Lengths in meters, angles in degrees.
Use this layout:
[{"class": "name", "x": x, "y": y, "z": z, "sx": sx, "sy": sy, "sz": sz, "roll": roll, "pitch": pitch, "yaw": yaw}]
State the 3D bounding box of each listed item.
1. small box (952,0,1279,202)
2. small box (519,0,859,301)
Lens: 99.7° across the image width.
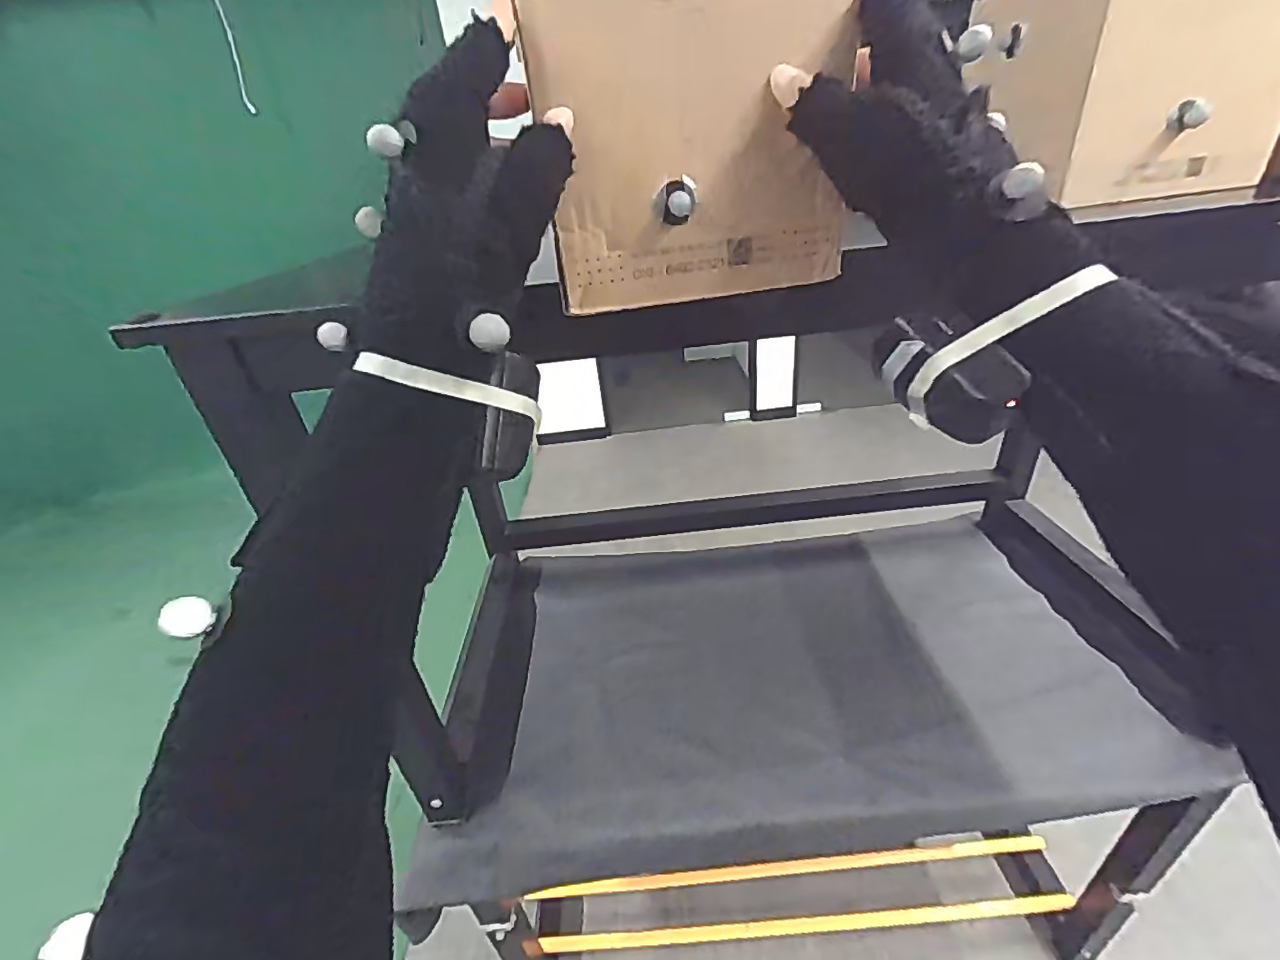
[{"class": "small box", "x": 0.404, "y": -0.342, "z": 0.468, "sx": 0.168, "sy": 0.176, "sz": 0.179, "roll": -7, "pitch": 30, "yaw": 1}, {"class": "small box", "x": 0.018, "y": -0.226, "z": 0.350, "sx": 0.168, "sy": 0.176, "sz": 0.179, "roll": -10, "pitch": 34, "yaw": -4}]
